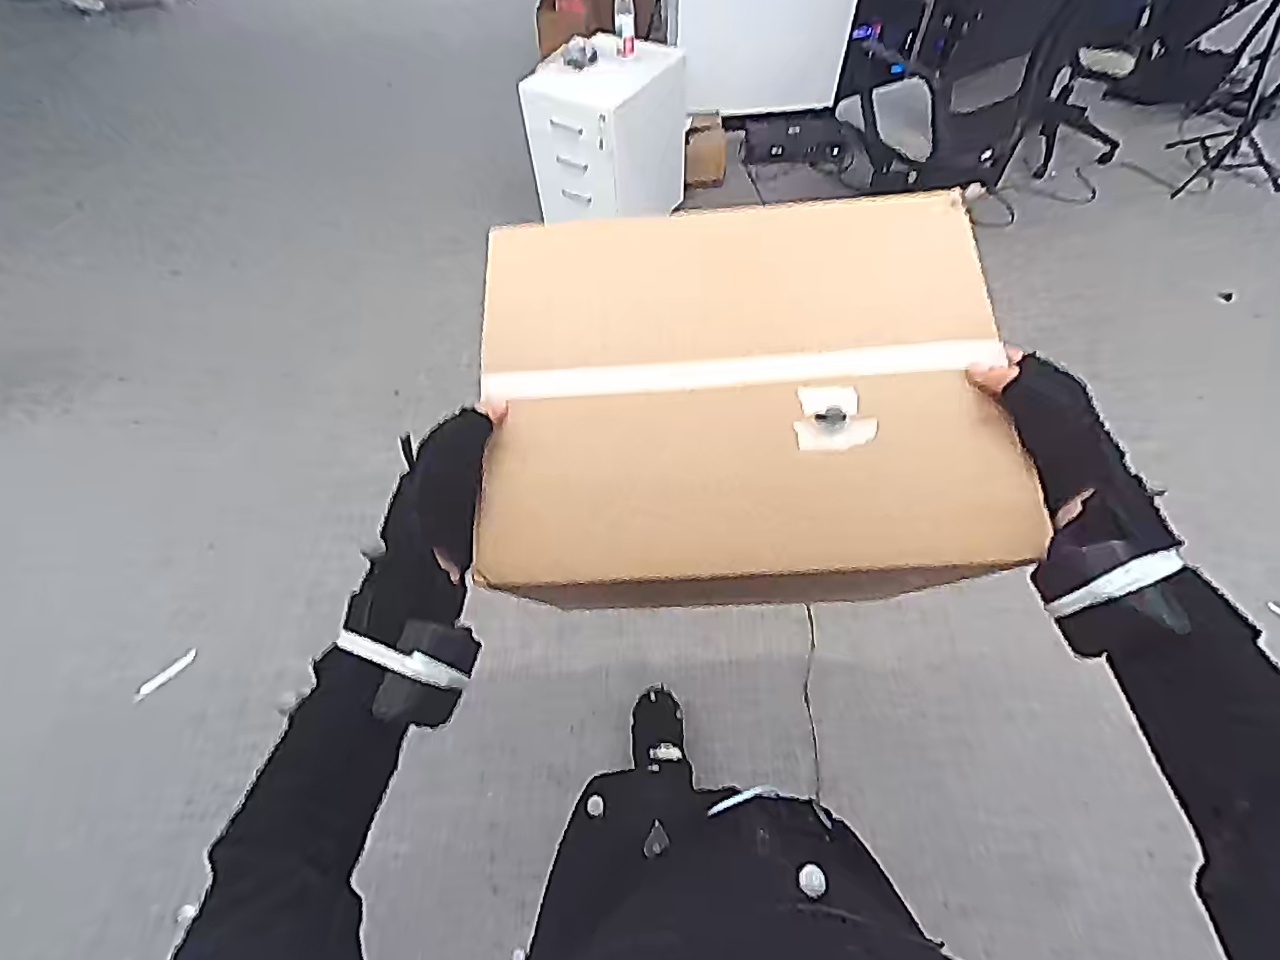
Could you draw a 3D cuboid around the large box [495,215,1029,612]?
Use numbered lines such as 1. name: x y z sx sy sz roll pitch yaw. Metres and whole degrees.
1. large box: 0.087 -0.033 0.585 0.408 0.320 0.320 -3 74 3
